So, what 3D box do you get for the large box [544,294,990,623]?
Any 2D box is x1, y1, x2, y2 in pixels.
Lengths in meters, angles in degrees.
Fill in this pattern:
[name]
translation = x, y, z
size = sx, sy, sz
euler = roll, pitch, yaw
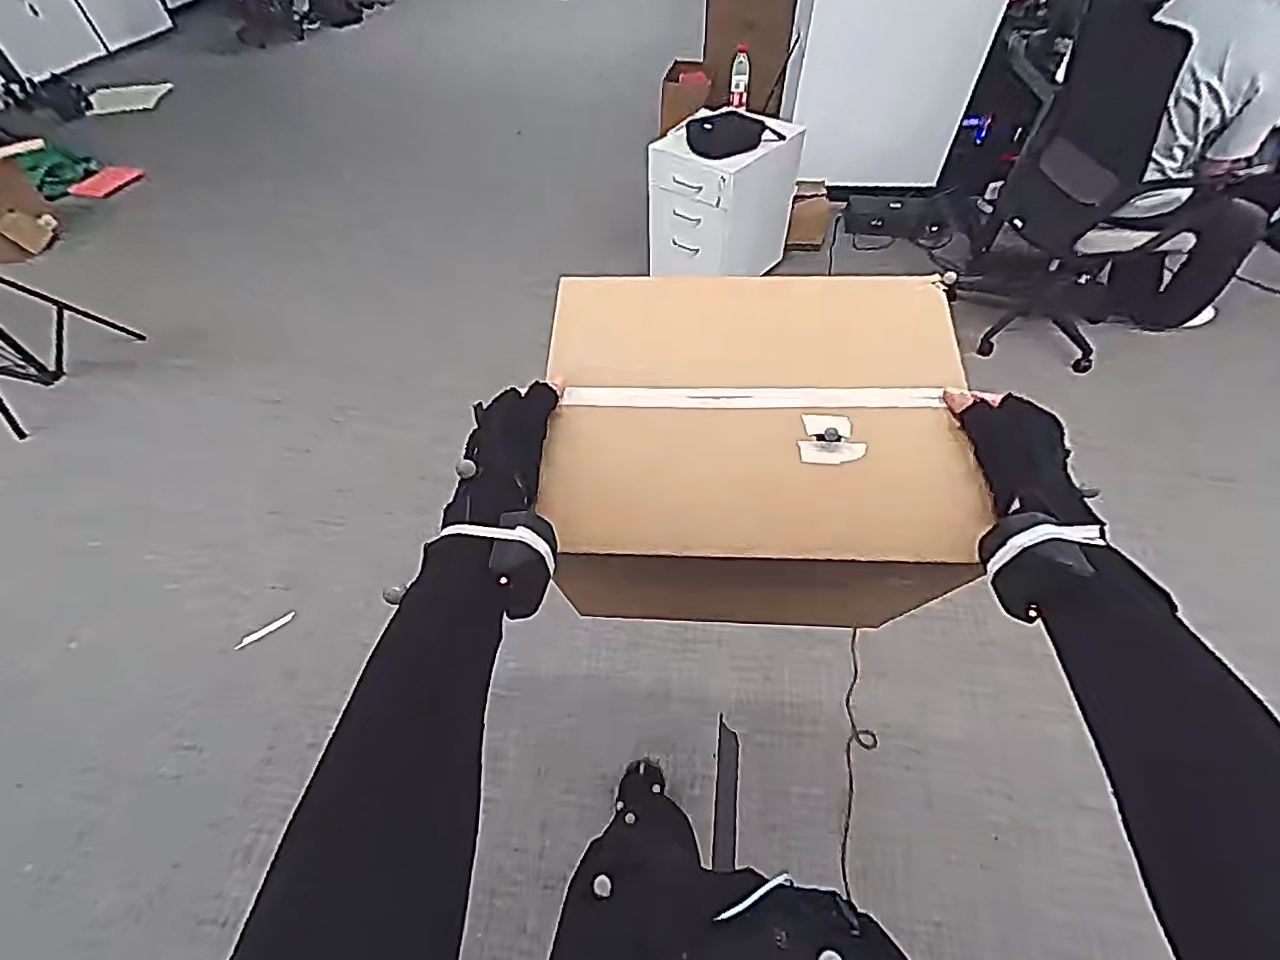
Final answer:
[large box]
translation = 0.117, -0.005, 0.676
size = 0.408, 0.320, 0.320
euler = 1, 66, 3
